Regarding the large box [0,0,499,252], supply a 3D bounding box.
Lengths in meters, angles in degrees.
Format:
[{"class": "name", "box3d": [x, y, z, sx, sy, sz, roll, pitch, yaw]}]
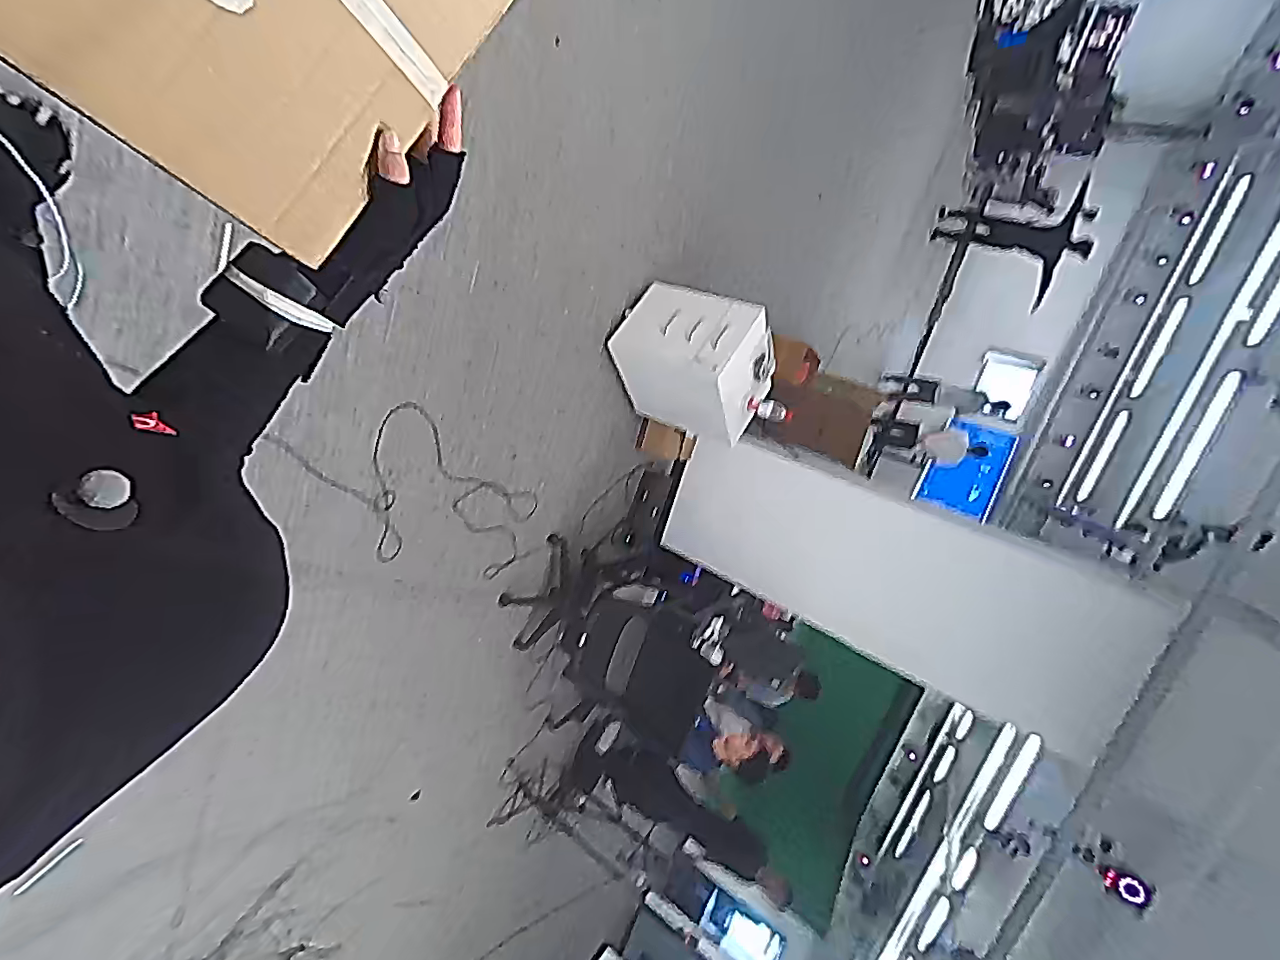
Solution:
[{"class": "large box", "box3d": [-0.347, -0.424, 0.321, 0.320, 0.320, 0.408, -54, 147, 0]}]
